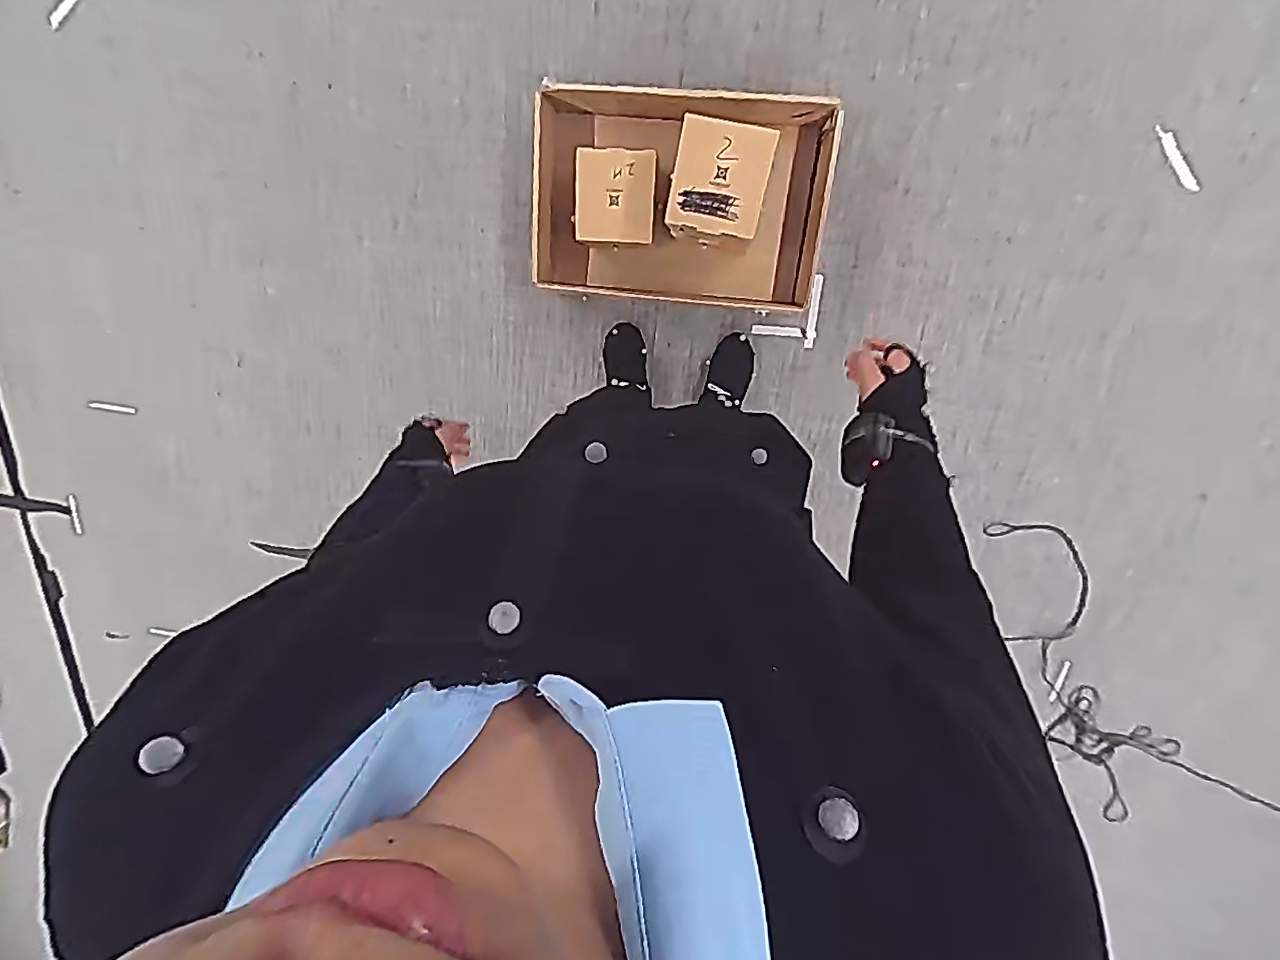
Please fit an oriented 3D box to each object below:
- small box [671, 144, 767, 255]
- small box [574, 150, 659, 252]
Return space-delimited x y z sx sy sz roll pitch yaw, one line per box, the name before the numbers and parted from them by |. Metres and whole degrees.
small box | 0.169 -0.599 1.174 0.168 0.176 0.179 12 110 5
small box | -0.047 -0.606 1.192 0.168 0.176 0.179 5 108 3
